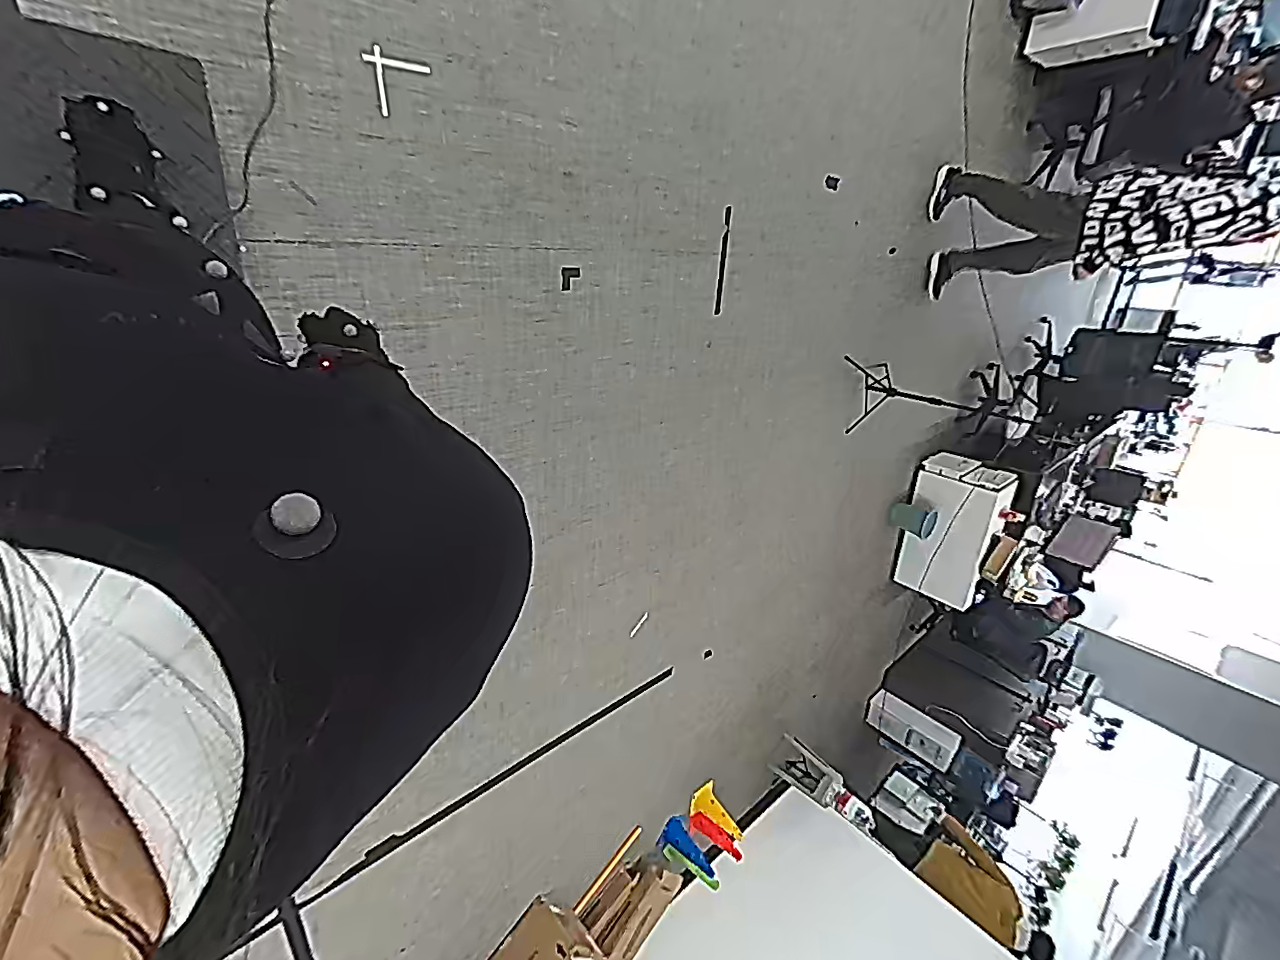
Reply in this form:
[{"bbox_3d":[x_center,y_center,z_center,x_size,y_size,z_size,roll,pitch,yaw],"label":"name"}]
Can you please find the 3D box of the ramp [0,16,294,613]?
[{"bbox_3d":[-1.027,-0.285,1.011,0.509,0.206,0.991,-15,118,-37],"label":"ramp"}]
